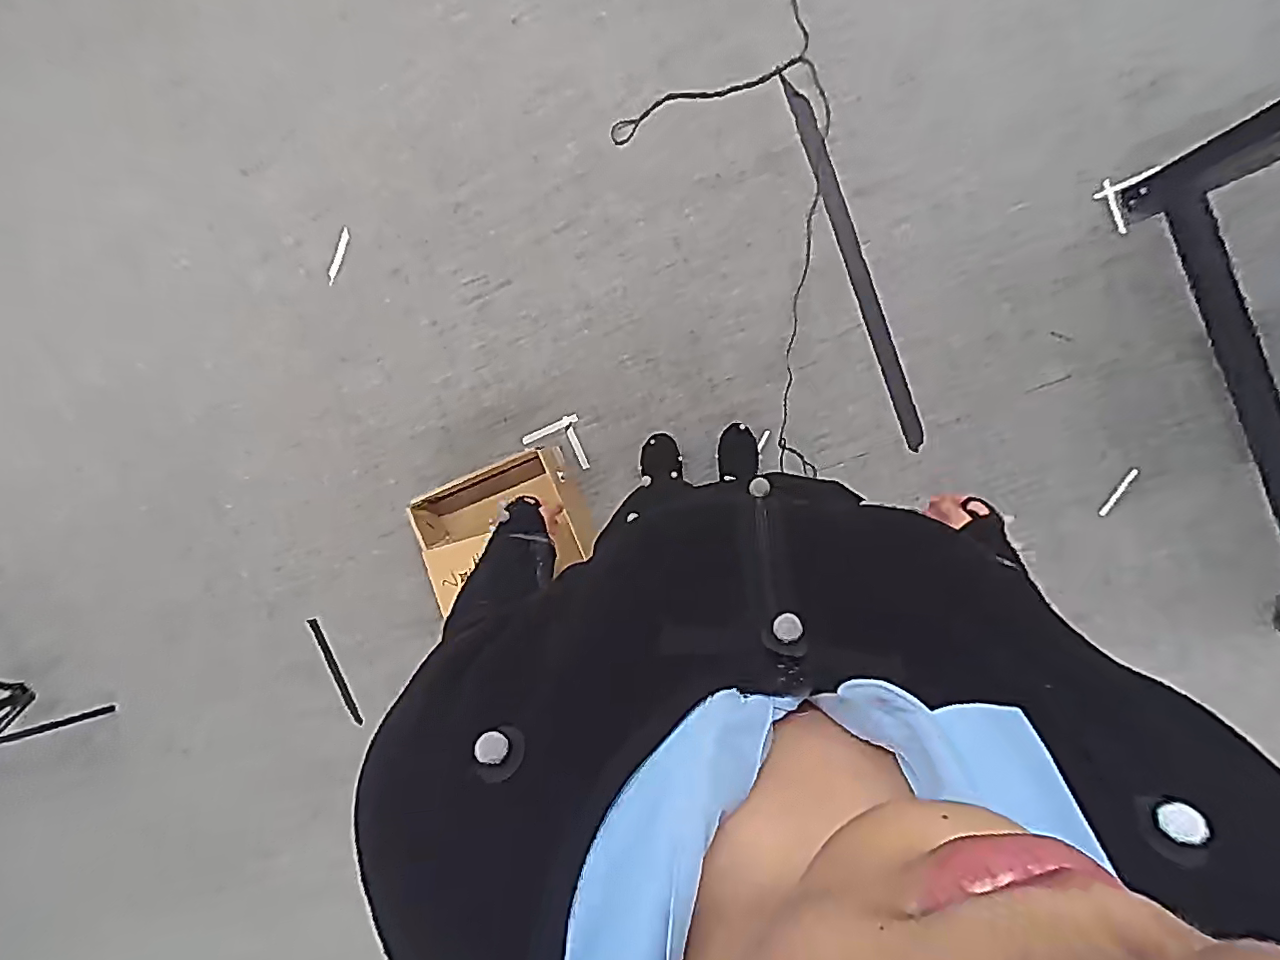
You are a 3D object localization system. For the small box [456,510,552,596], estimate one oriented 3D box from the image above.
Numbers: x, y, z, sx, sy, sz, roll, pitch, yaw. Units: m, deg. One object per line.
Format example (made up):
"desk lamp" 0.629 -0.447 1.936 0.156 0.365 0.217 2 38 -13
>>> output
"small box" -0.358 0.190 1.448 0.179 0.176 0.168 -18 95 7
